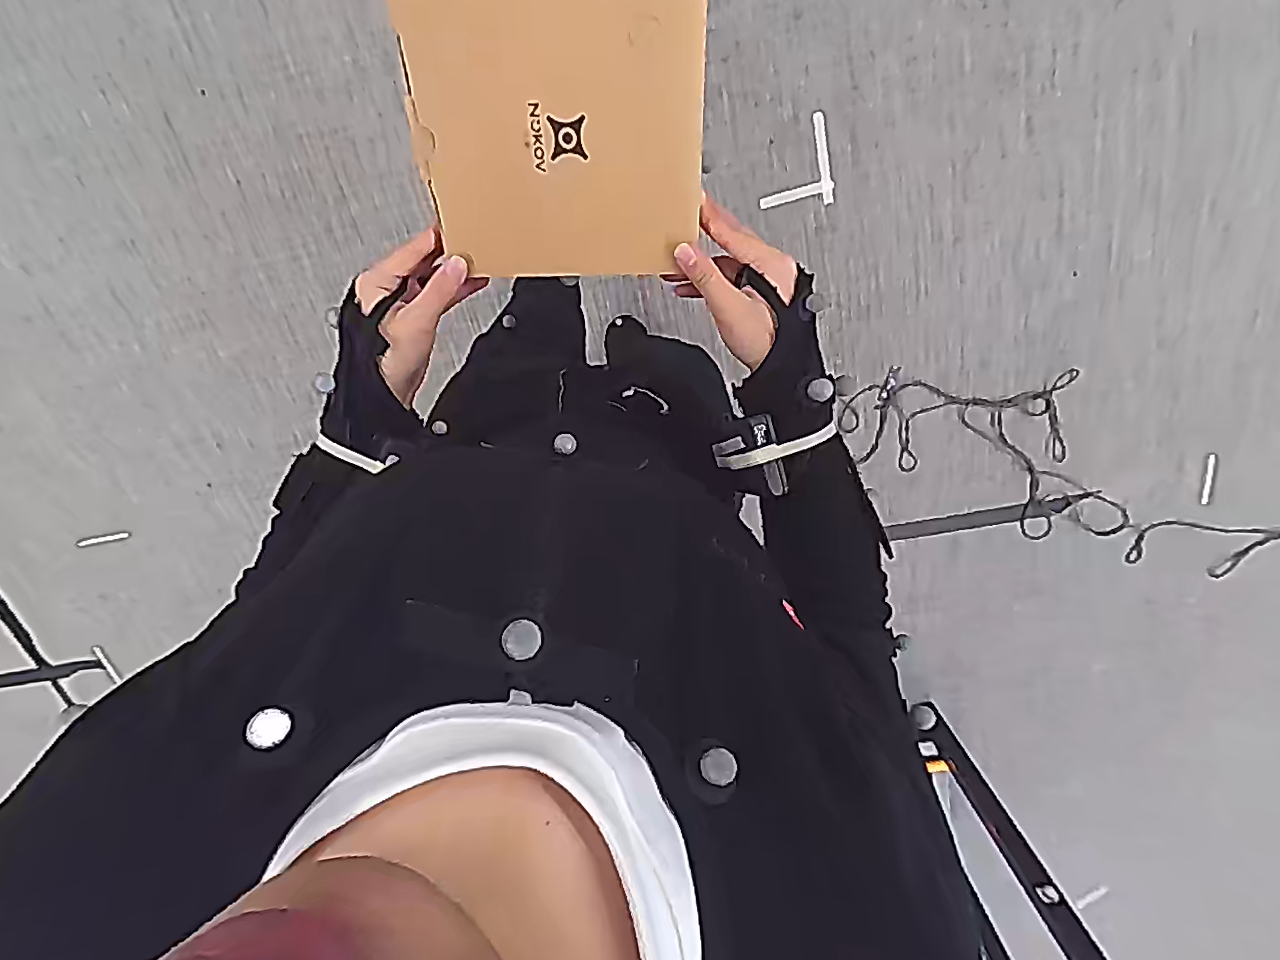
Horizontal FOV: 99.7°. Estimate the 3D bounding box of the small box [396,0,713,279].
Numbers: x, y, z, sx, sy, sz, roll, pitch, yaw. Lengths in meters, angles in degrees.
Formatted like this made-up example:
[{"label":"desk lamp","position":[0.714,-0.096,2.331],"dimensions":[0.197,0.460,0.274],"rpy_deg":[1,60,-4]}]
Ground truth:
[{"label":"small box","position":[-0.046,-0.256,0.399],"dimensions":[0.179,0.176,0.168],"rpy_deg":[0,126,2]}]
